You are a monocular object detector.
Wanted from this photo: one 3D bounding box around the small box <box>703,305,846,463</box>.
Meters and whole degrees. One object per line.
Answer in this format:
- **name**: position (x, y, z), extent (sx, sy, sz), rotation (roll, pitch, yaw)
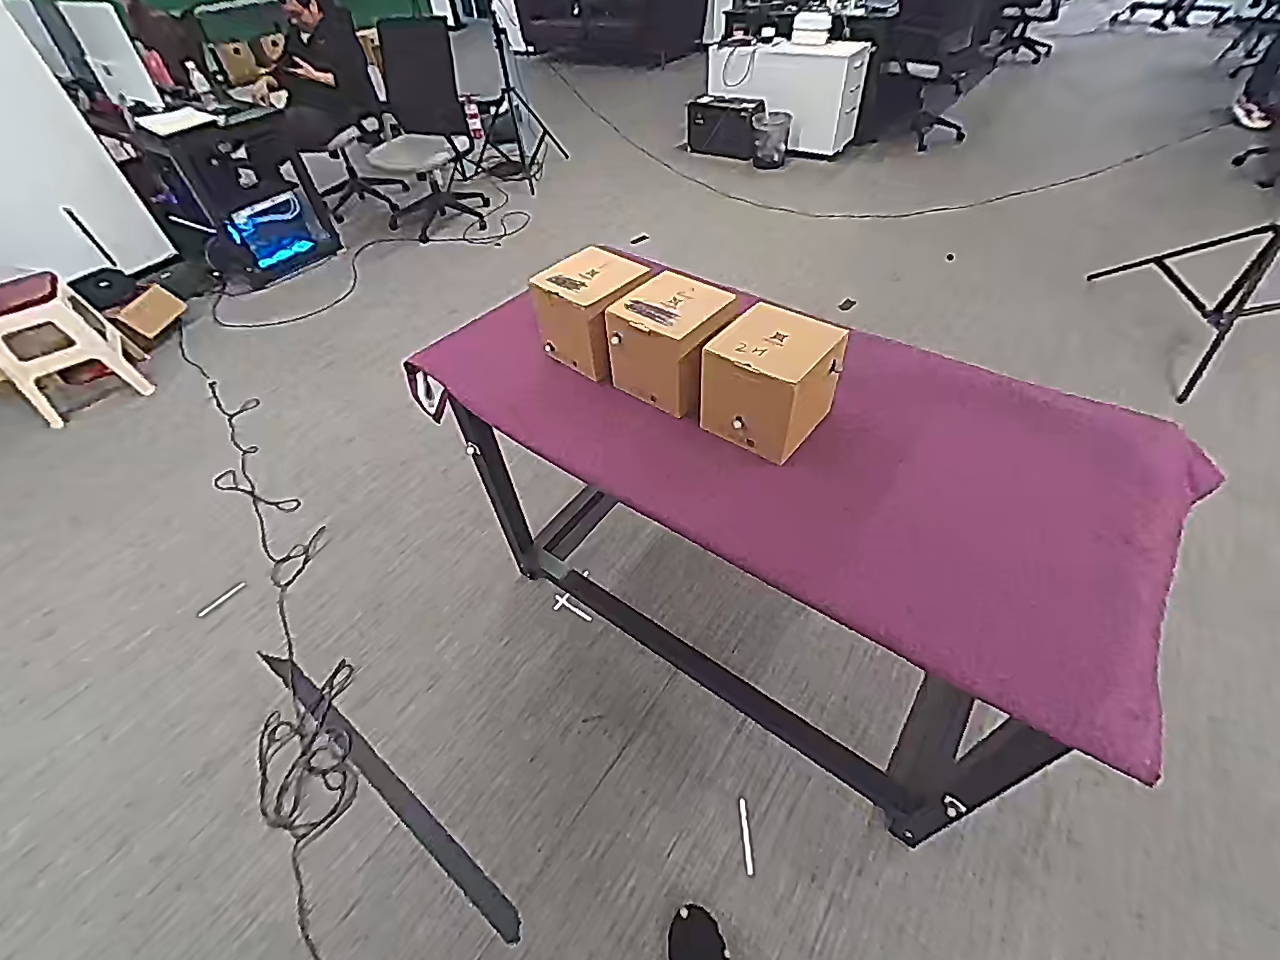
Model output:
- **small box**: position (0.216, -0.162, 0.911), extent (0.168, 0.176, 0.179), rotation (29, 56, 29)
